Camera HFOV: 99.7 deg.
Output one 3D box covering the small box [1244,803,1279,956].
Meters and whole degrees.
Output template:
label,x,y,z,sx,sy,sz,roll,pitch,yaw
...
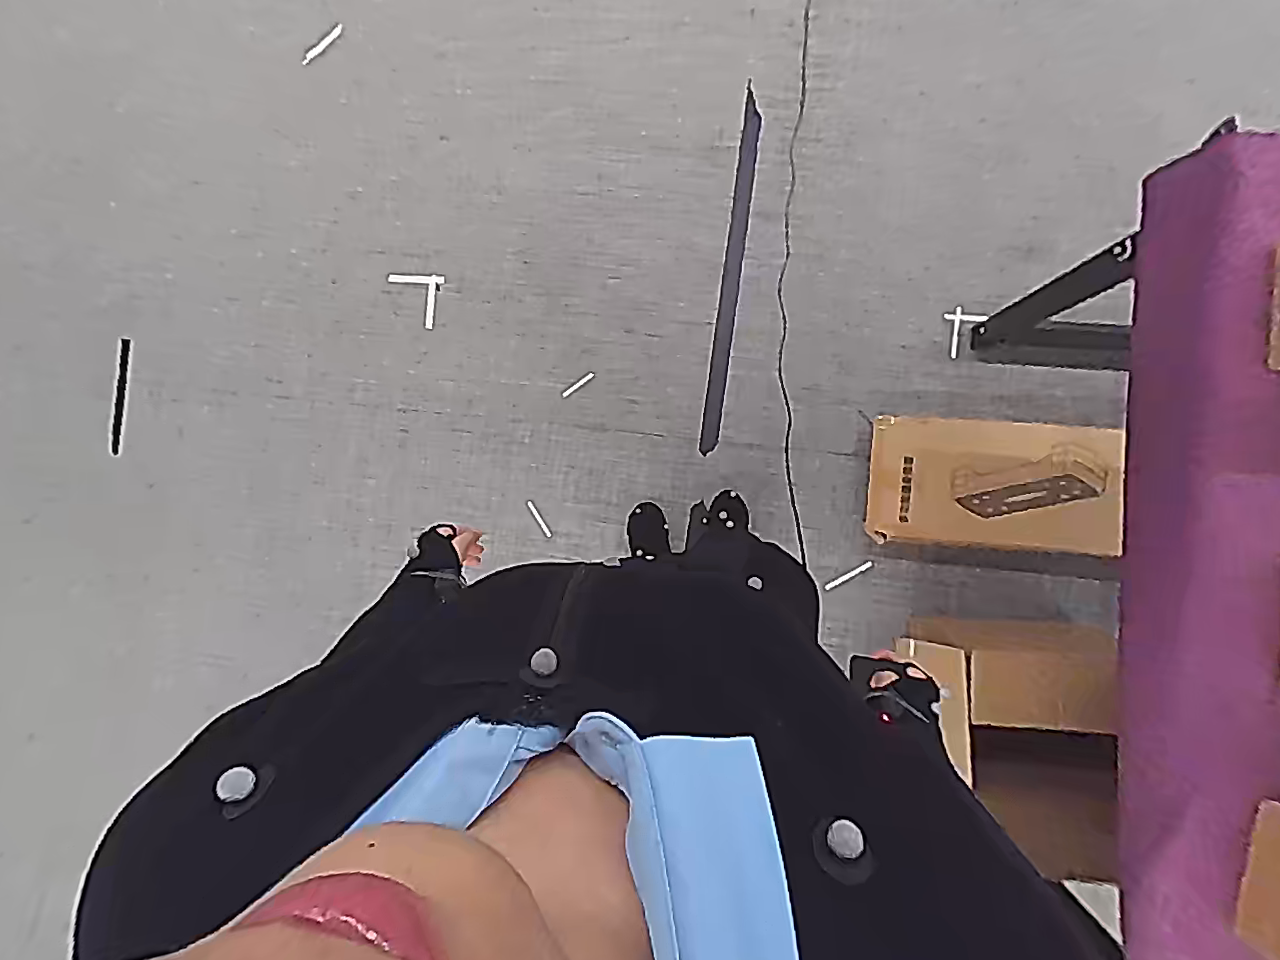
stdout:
label,x,y,z,sx,sy,sz,roll,pitch,yaw
small box,0.833,0.493,0.586,0.168,0.176,0.179,12,91,6
